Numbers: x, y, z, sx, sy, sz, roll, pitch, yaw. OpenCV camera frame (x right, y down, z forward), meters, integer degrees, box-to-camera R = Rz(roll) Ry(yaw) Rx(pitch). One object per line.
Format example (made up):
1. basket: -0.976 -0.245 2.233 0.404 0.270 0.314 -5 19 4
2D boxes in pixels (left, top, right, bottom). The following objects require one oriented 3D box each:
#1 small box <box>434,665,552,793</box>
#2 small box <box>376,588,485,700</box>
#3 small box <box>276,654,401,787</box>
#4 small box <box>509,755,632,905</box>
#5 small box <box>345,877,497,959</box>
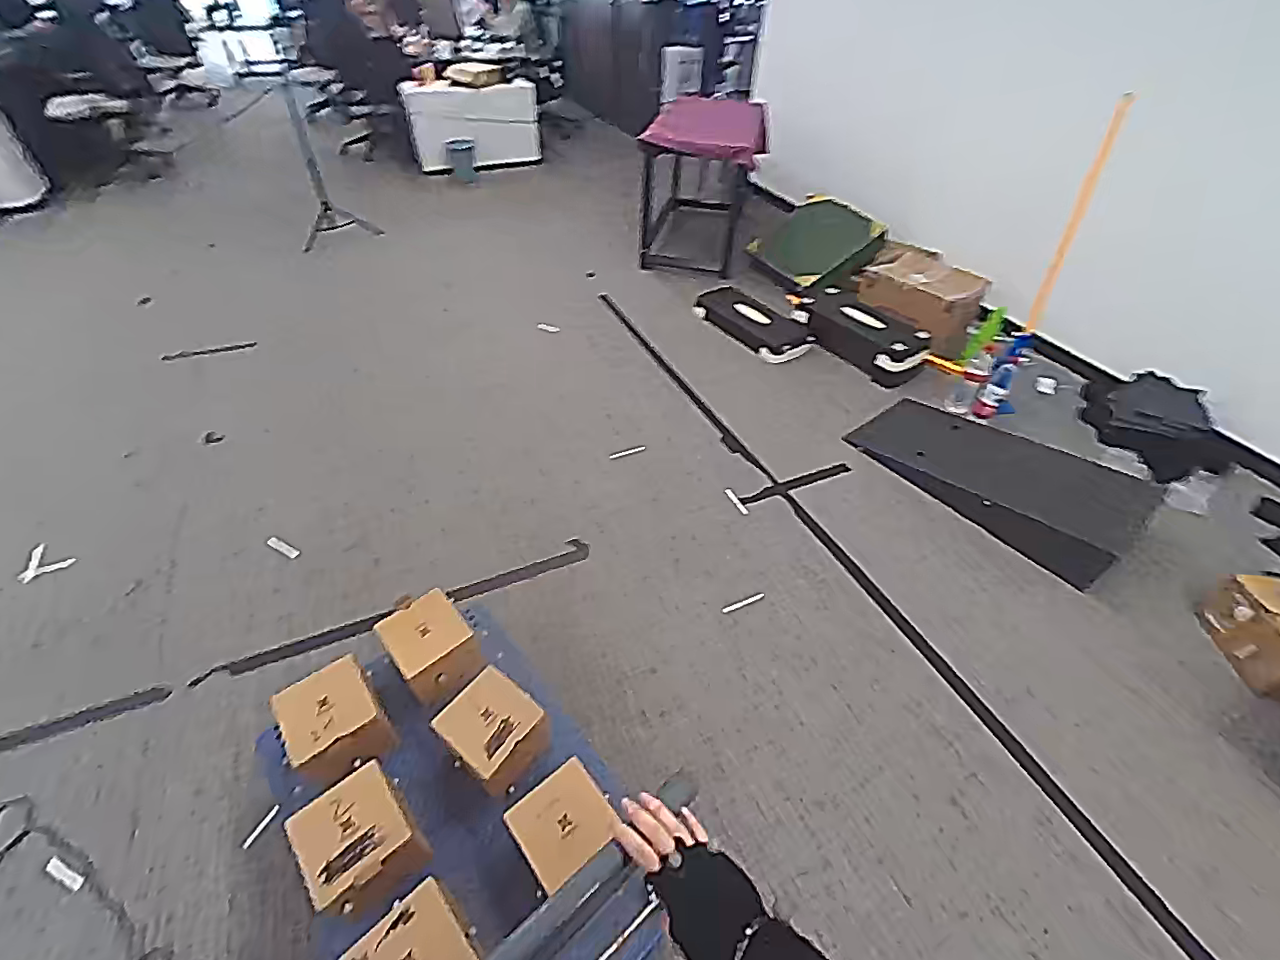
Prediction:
1. small box: -0.310 0.548 1.180 0.179 0.176 0.168 29 51 24
2. small box: -0.500 0.404 1.312 0.168 0.176 0.179 -33 55 -30
3. small box: -0.652 0.526 1.180 0.168 0.176 0.179 -29 54 -27
4. small box: -0.132 0.686 1.055 0.168 0.176 0.179 -30 53 -29
5. small box: -0.354 0.820 0.908 0.168 0.176 0.179 -33 56 -31
